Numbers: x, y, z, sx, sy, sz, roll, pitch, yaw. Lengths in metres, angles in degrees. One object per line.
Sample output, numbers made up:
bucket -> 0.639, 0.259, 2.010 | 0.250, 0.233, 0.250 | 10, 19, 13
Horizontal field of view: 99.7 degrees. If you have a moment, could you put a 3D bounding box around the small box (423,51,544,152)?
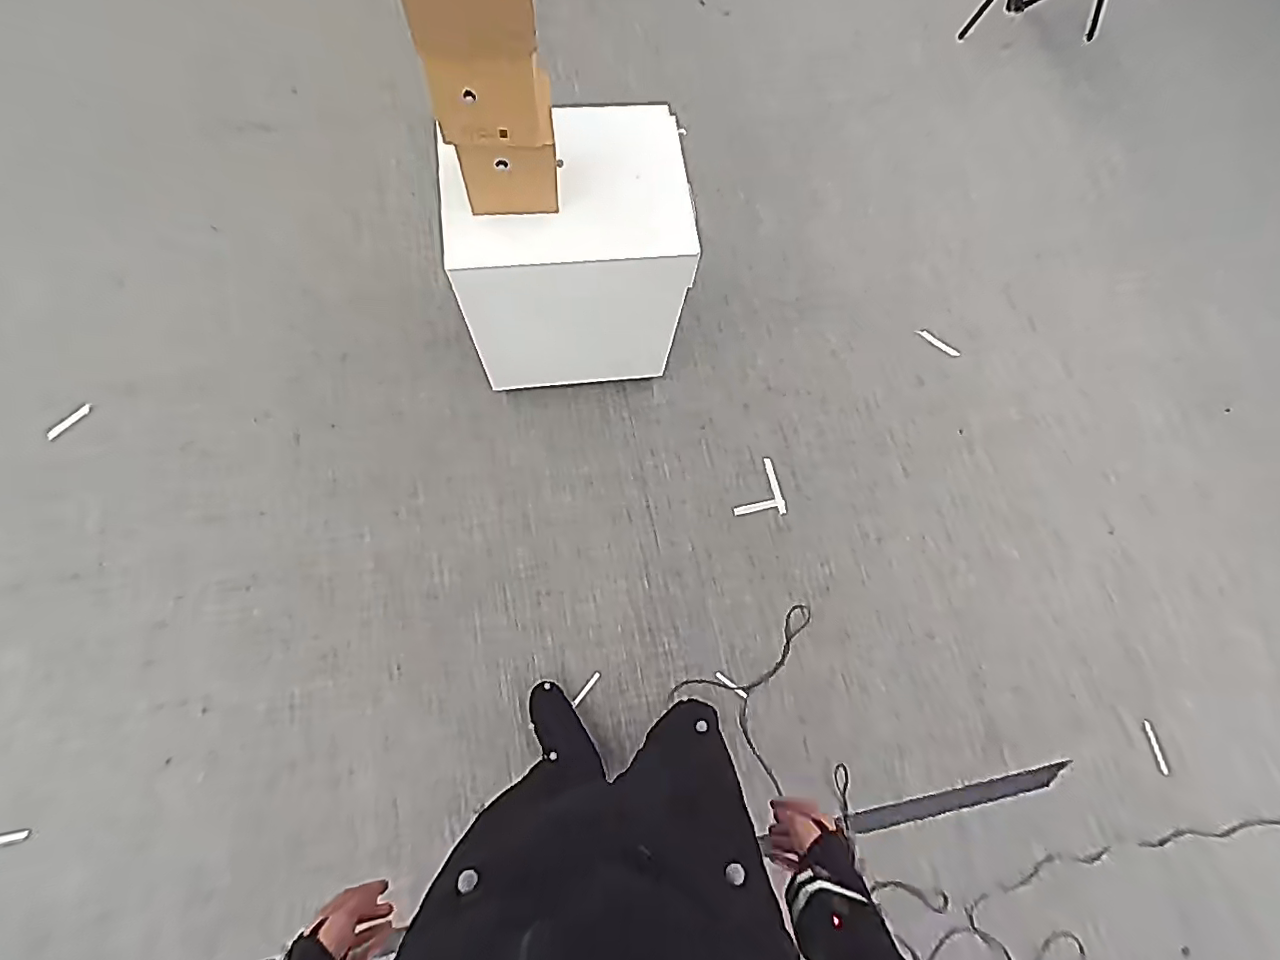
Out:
small box -> -0.248, -0.674, 0.891 | 0.168, 0.176, 0.179 | -3, 74, -7

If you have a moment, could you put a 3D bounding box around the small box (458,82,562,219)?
small box -> -0.247, -0.631, 1.048 | 0.179, 0.176, 0.168 | -5, 75, -8

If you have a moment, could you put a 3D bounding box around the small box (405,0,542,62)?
small box -> -0.232, -0.706, 0.729 | 0.179, 0.176, 0.168 | -6, 75, -7
